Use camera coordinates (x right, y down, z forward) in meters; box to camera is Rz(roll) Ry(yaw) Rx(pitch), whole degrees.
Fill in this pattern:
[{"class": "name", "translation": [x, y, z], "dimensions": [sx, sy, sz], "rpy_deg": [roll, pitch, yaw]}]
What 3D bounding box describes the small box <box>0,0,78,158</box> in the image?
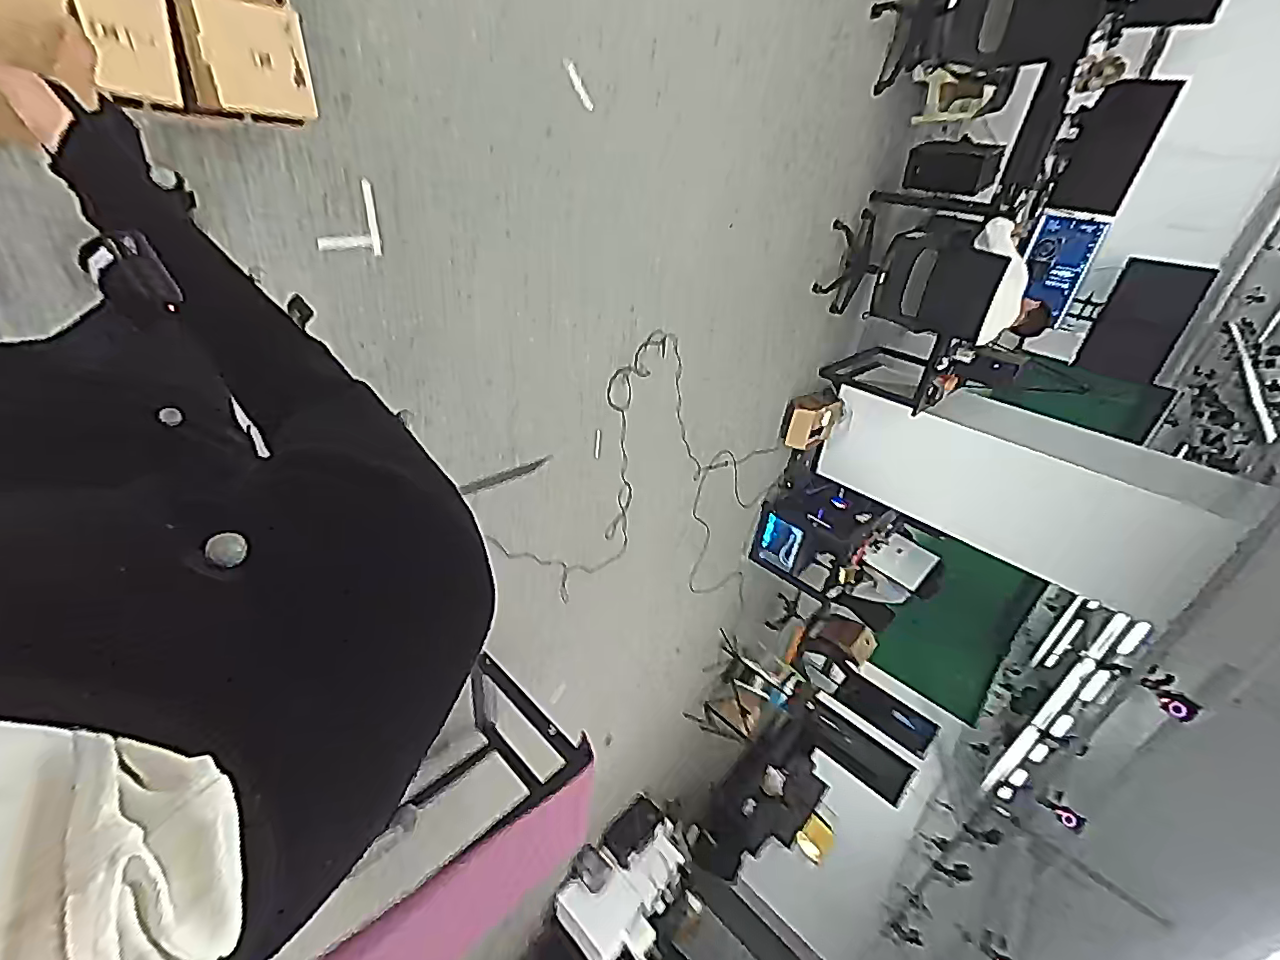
[{"class": "small box", "translation": [-0.565, -0.396, 0.409], "dimensions": [0.168, 0.176, 0.179], "rpy_deg": [-9, 138, -56]}]
